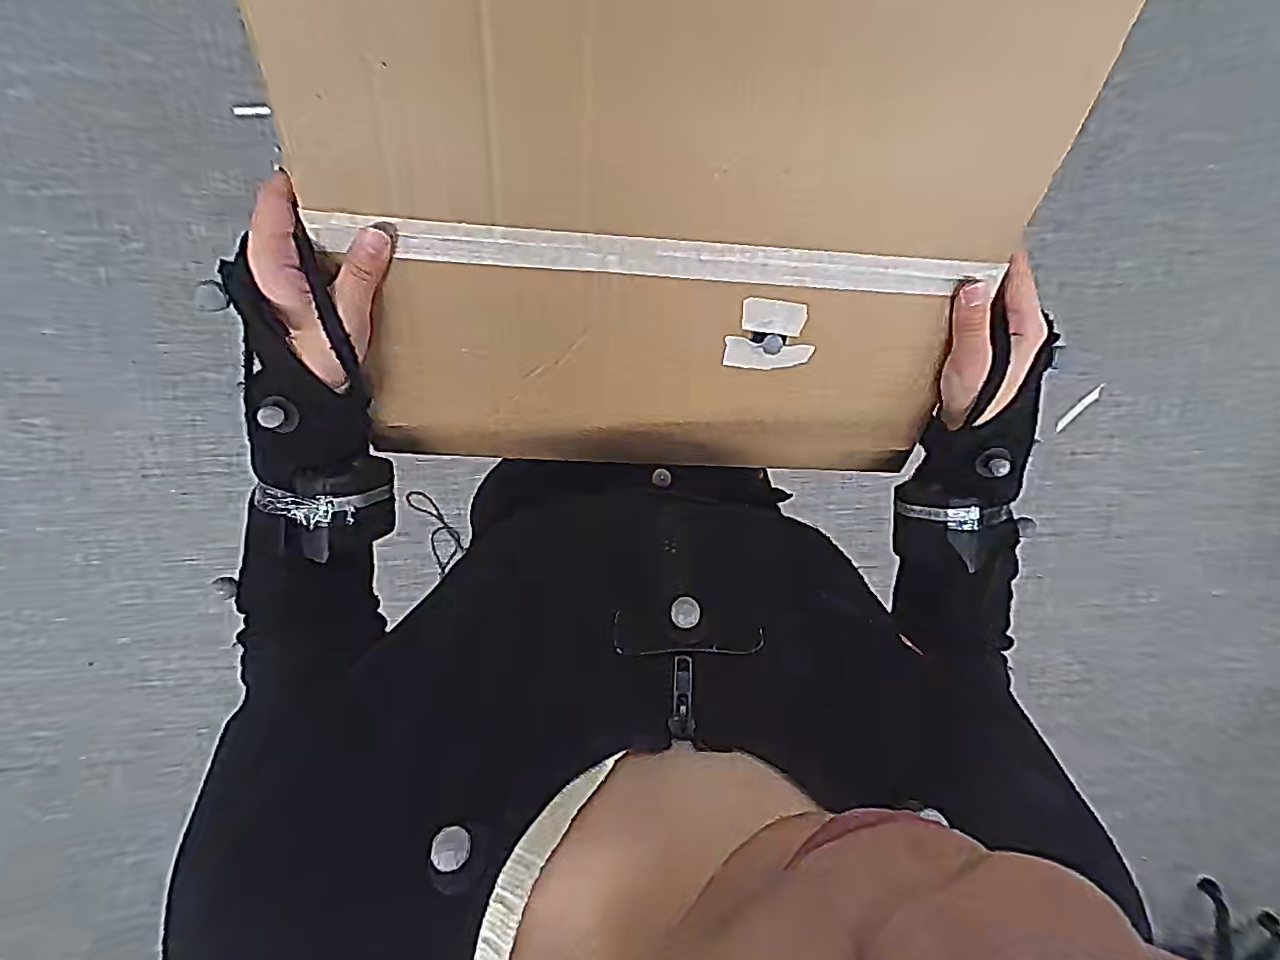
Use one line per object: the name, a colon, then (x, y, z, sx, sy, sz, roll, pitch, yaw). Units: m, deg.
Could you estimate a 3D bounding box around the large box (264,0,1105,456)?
large box: (0.008, -0.233, 0.439, 0.408, 0.320, 0.320, 1, 132, -7)
